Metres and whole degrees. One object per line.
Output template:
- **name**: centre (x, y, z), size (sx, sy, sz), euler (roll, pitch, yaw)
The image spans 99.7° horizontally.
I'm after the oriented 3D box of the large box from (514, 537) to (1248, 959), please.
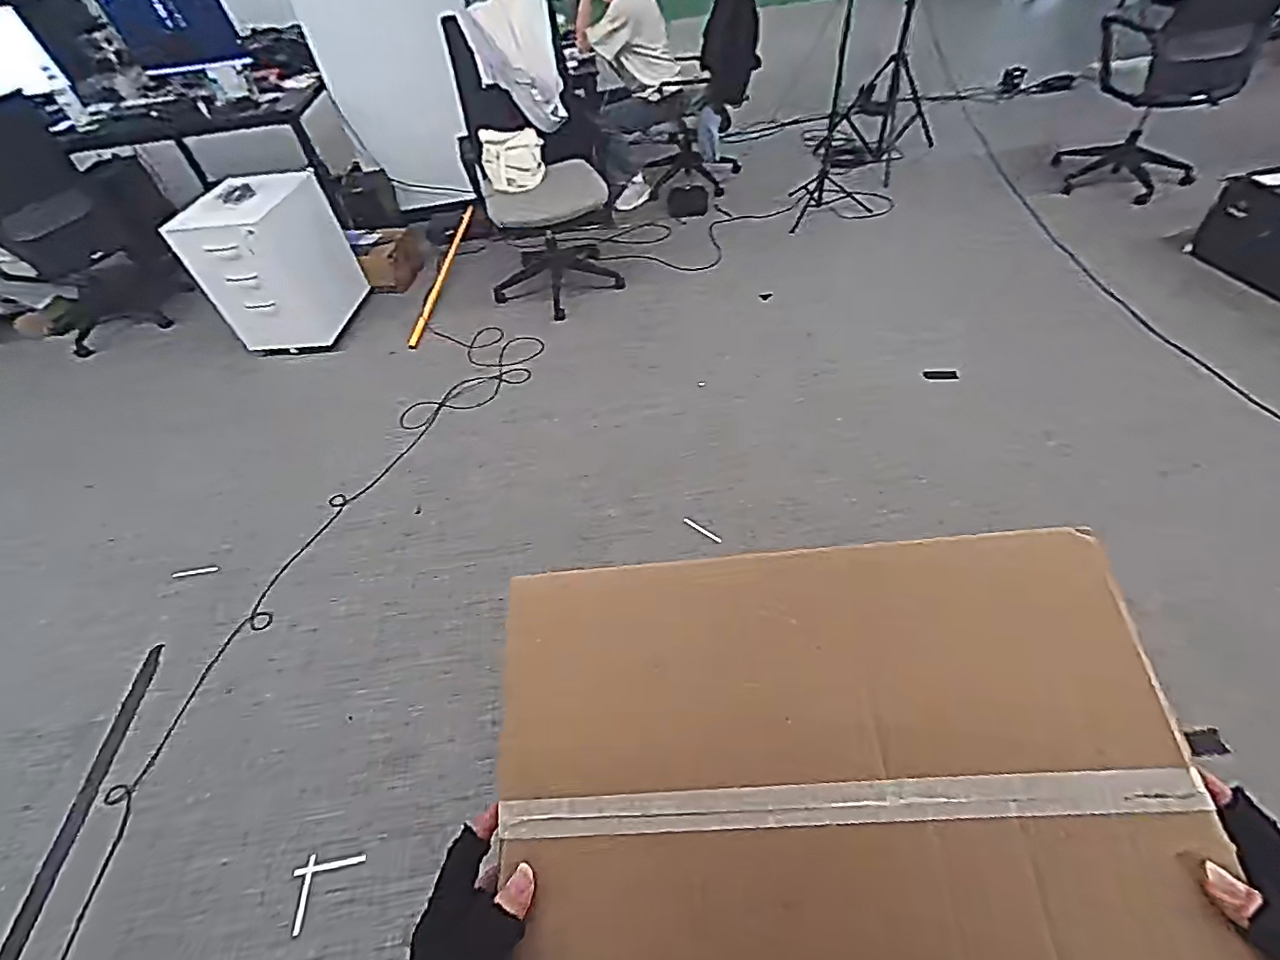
- **large box**: centre (0.134, 0.261, 0.467), size (0.408, 0.320, 0.320), euler (-6, 66, 6)
